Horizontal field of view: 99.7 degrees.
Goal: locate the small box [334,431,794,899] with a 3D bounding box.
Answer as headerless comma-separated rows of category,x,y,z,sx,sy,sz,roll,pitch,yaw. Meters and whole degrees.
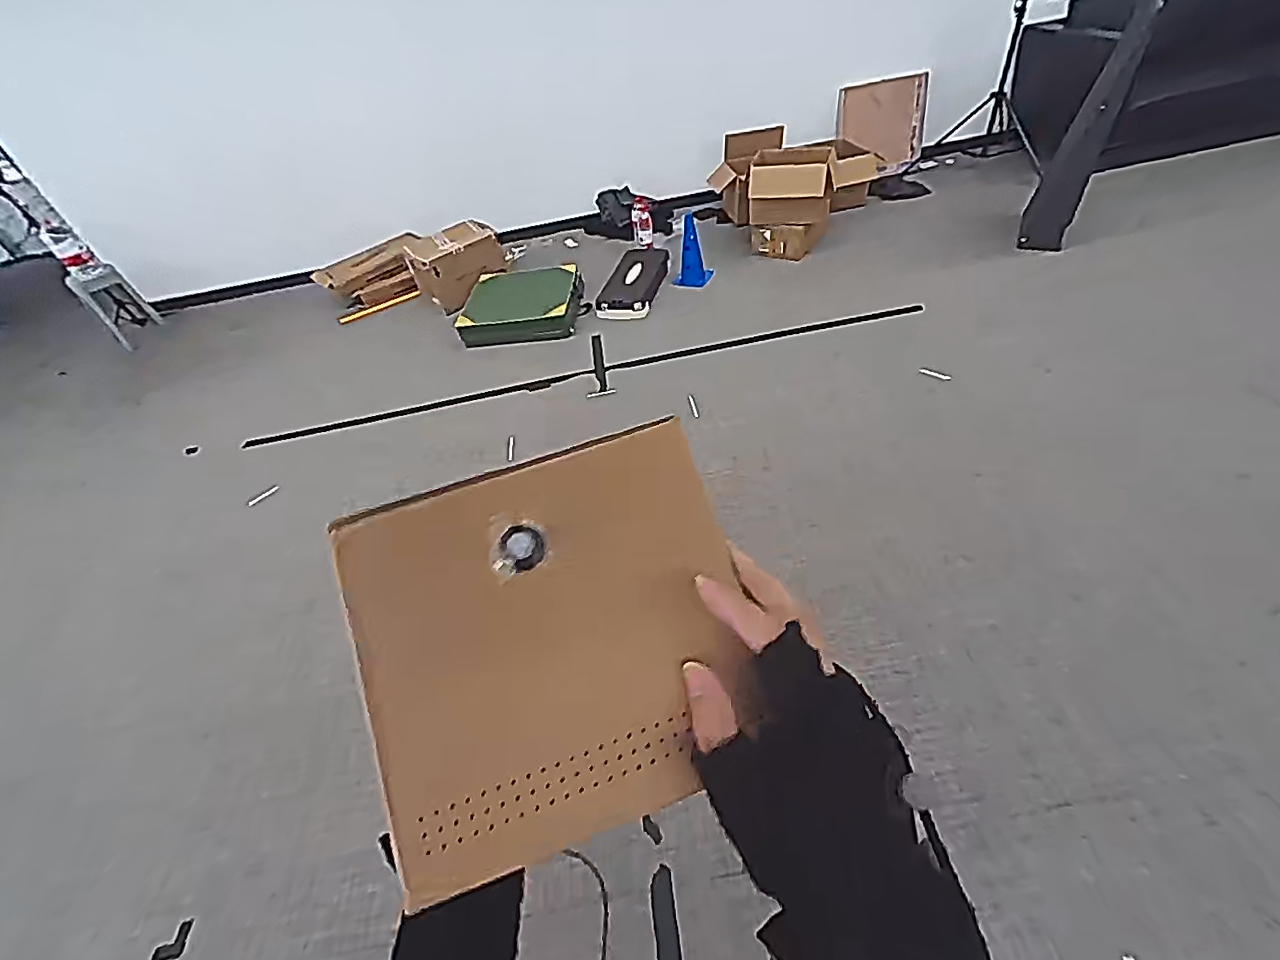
small box,-0.039,0.097,0.321,0.179,0.168,0.176,-19,78,-7
